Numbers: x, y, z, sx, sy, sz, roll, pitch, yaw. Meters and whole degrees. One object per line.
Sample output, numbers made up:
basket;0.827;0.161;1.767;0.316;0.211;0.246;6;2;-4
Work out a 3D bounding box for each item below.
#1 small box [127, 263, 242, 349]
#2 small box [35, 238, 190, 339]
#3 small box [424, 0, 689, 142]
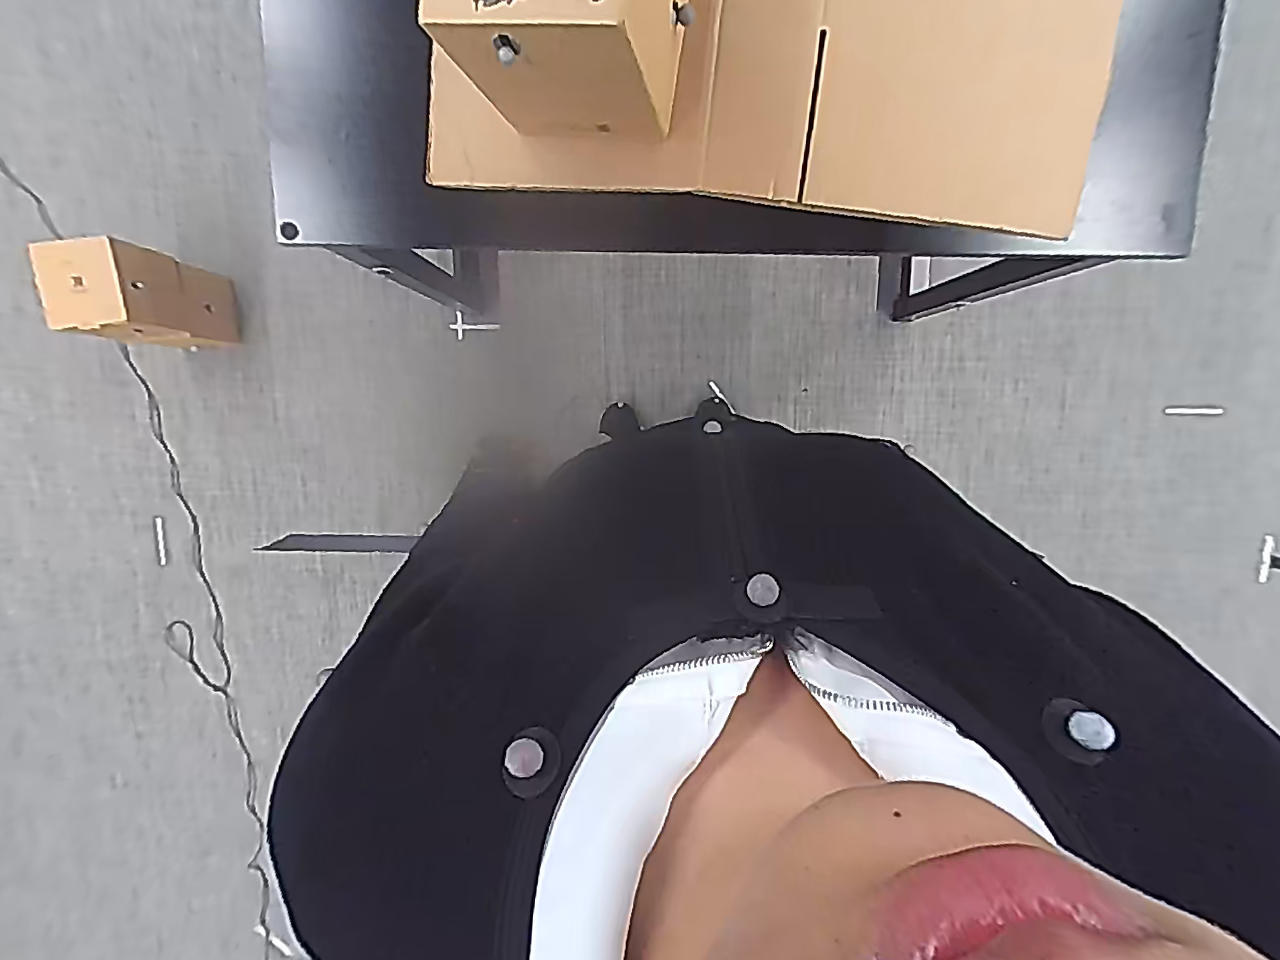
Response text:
small box;-1.148;-0.430;1.358;0.168;0.176;0.179;-3;99;1
small box;-1.150;-0.413;1.196;0.168;0.176;0.179;-7;97;0
small box;-0.055;-0.427;0.461;0.168;0.176;0.179;11;98;12
